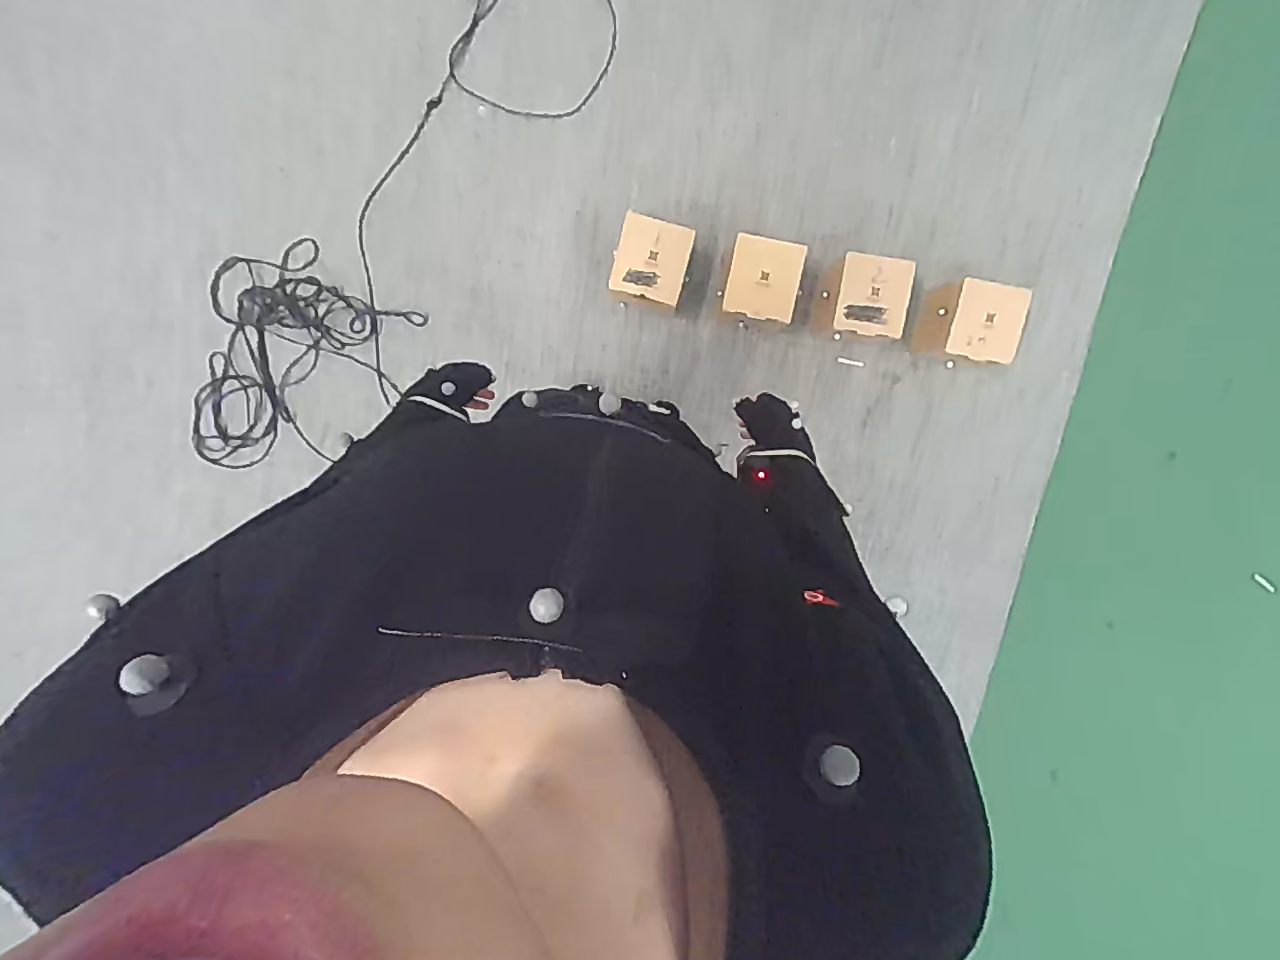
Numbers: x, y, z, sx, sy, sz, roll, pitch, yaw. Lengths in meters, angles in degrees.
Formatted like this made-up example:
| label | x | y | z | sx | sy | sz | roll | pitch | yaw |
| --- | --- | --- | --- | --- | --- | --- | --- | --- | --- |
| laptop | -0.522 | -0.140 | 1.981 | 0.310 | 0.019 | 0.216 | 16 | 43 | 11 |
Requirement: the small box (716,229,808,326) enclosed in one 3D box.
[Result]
| label | x | y | z | sx | sy | sz | roll | pitch | yaw |
| --- | --- | --- | --- | --- | --- | --- | --- | --- | --- |
| small box | 0.290 | -0.488 | 1.325 | 0.168 | 0.176 | 0.179 | 11 | 100 | -1 |

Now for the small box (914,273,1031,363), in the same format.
| label | x | y | z | sx | sy | sz | roll | pitch | yaw |
| --- | --- | --- | --- | --- | --- | --- | --- | --- | --- |
| small box | 0.811 | -0.394 | 1.339 | 0.168 | 0.176 | 0.179 | 11 | 101 | -1 |

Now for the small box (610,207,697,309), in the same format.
| label | x | y | z | sx | sy | sz | roll | pitch | yaw |
| --- | --- | --- | --- | --- | --- | --- | --- | --- | --- |
| small box | 0.032 | -0.529 | 1.318 | 0.168 | 0.176 | 0.179 | 15 | 99 | -2 |
